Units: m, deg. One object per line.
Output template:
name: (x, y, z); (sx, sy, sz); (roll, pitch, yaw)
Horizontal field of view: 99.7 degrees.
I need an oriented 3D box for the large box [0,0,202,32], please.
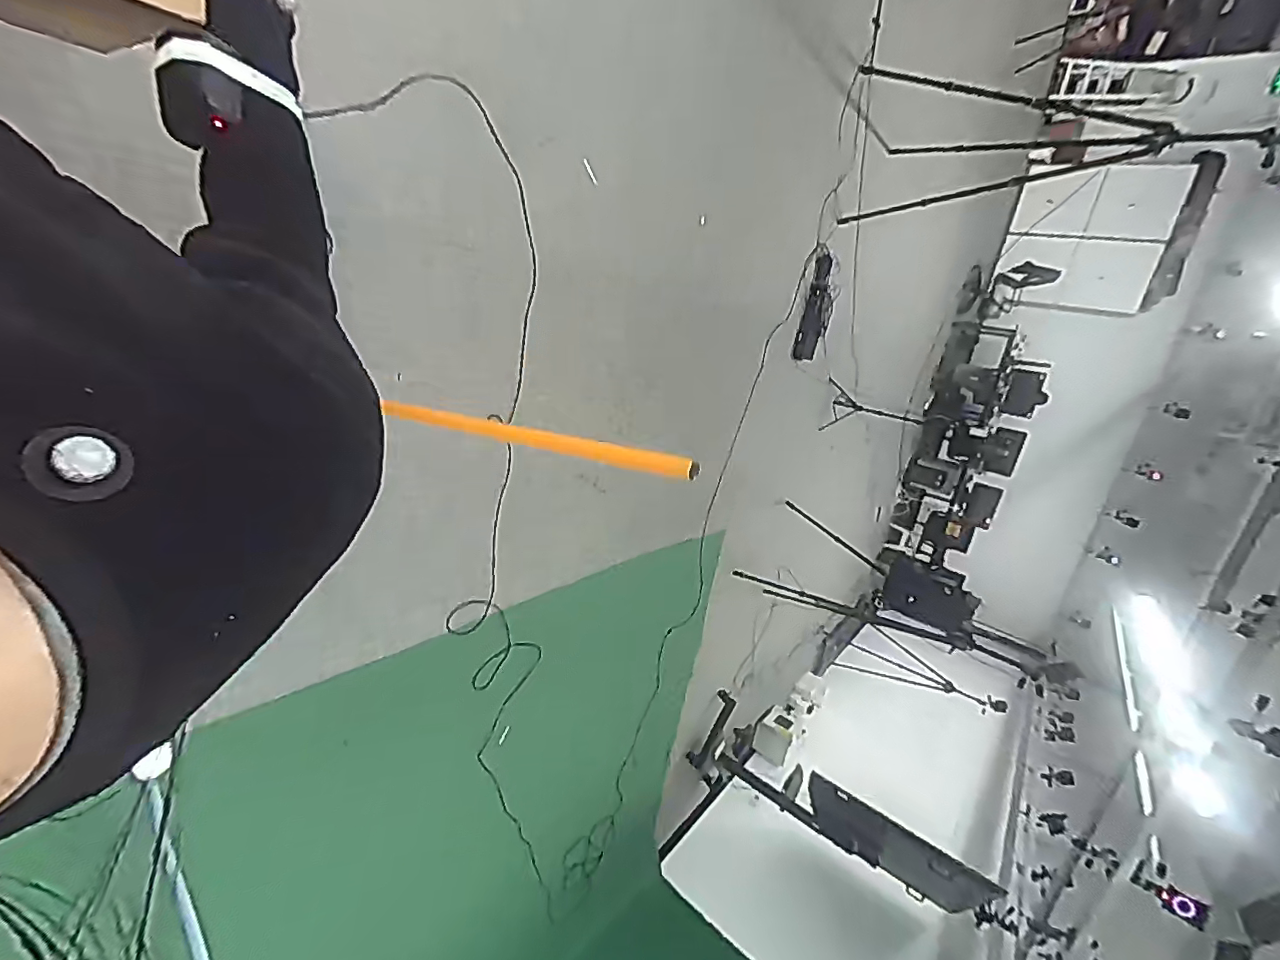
large box: (-0.536, -0.509, 0.283); (0.408, 0.320, 0.320); (-16, 123, -49)
